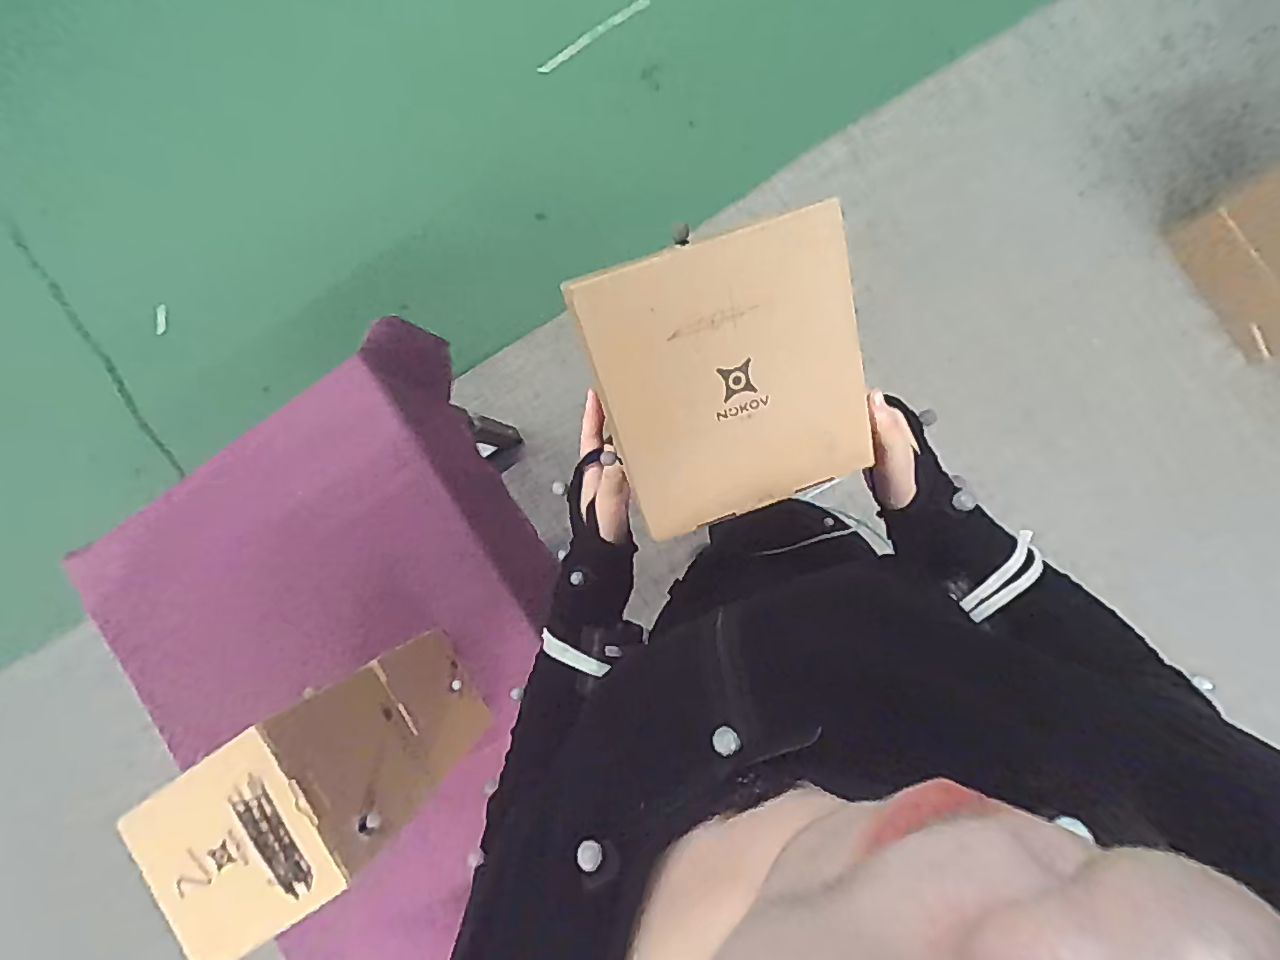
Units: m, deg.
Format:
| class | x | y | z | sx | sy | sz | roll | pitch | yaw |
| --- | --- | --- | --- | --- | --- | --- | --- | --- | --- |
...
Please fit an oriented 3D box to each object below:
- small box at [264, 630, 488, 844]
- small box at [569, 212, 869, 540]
| class | x | y | z | sx | sy | sz | roll | pitch | yaw |
| --- | --- | --- | --- | --- | --- | --- | --- | --- | --- |
| small box | -0.340 | 0.329 | 0.728 | 0.179 | 0.176 | 0.168 | -32 | 86 | 5 |
| small box | 0.050 | -0.086 | 0.414 | 0.168 | 0.176 | 0.179 | -18 | 113 | -3 |
